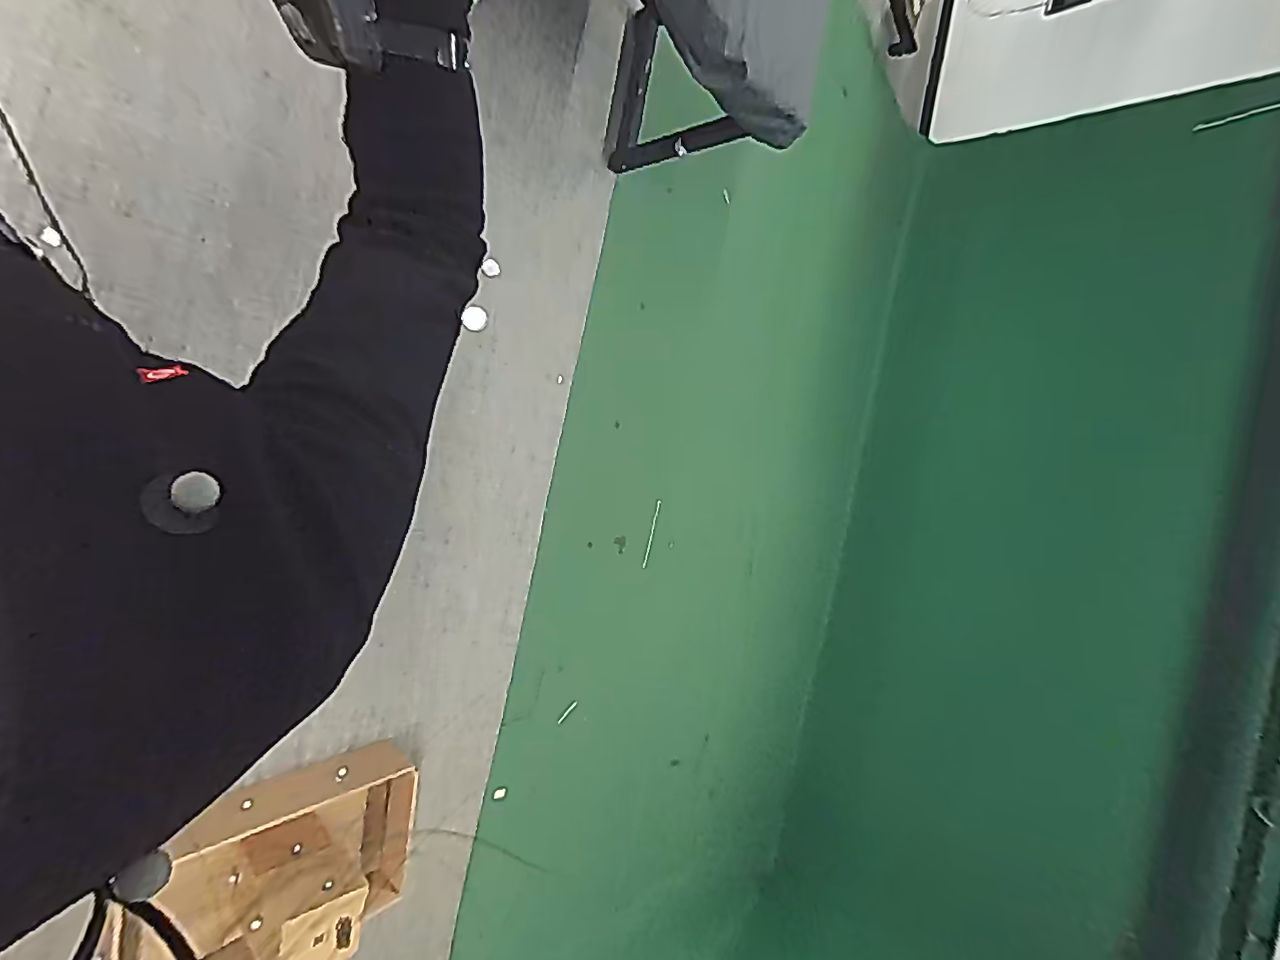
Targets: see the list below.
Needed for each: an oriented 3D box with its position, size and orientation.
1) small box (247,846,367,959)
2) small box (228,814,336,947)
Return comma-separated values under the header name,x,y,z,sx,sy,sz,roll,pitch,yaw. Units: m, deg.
name,x,y,z,sx,sy,sz,roll,pitch,yaw
small box,-0.756,0.982,1.228,0.179,0.176,0.168,9,91,-50
small box,-0.882,0.971,1.334,0.179,0.176,0.168,4,94,-49
